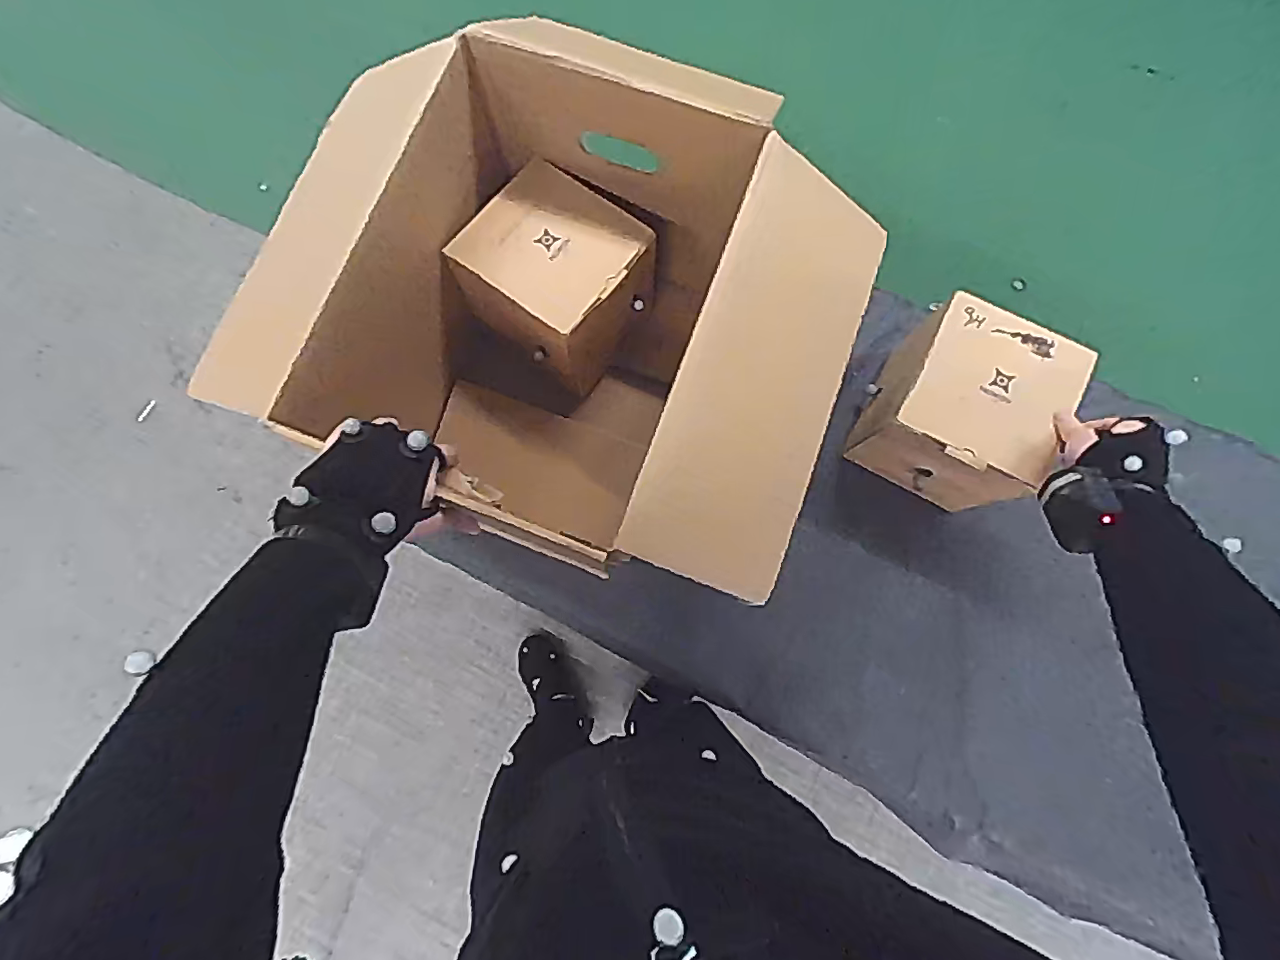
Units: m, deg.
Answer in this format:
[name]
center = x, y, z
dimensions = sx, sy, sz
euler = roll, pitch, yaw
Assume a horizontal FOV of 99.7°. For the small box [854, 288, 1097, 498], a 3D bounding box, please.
[small box]
center = 0.391, -0.092, 0.667
dimensions = 0.168, 0.176, 0.179
euler = 29, 83, 5
